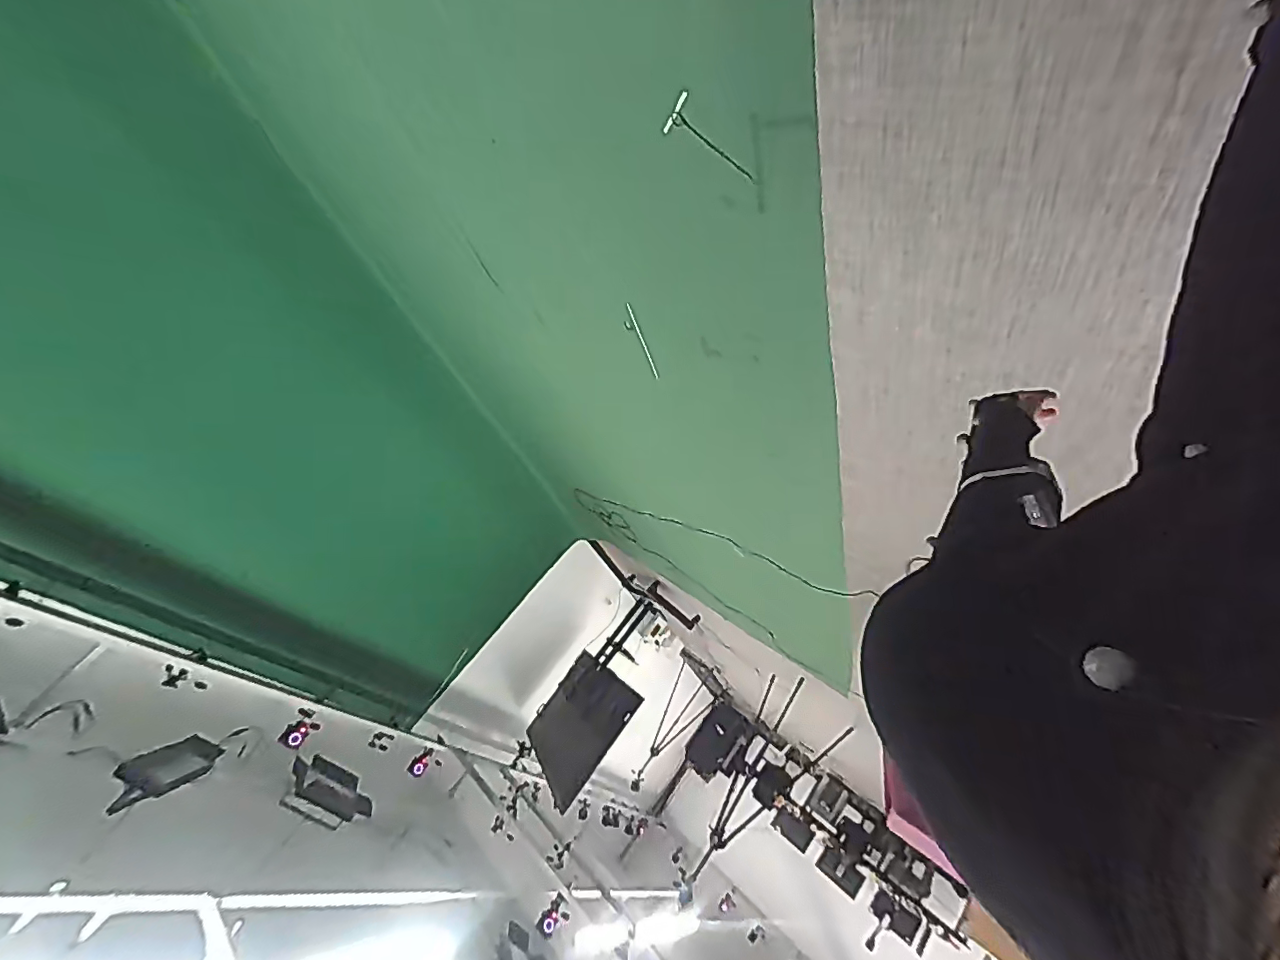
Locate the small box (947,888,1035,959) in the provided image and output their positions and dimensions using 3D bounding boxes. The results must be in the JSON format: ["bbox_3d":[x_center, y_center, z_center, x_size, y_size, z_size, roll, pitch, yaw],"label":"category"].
[{"bbox_3d":[1.117,1.444,1.722,0.168,0.176,0.179,31,161,30],"label":"small box"}]
